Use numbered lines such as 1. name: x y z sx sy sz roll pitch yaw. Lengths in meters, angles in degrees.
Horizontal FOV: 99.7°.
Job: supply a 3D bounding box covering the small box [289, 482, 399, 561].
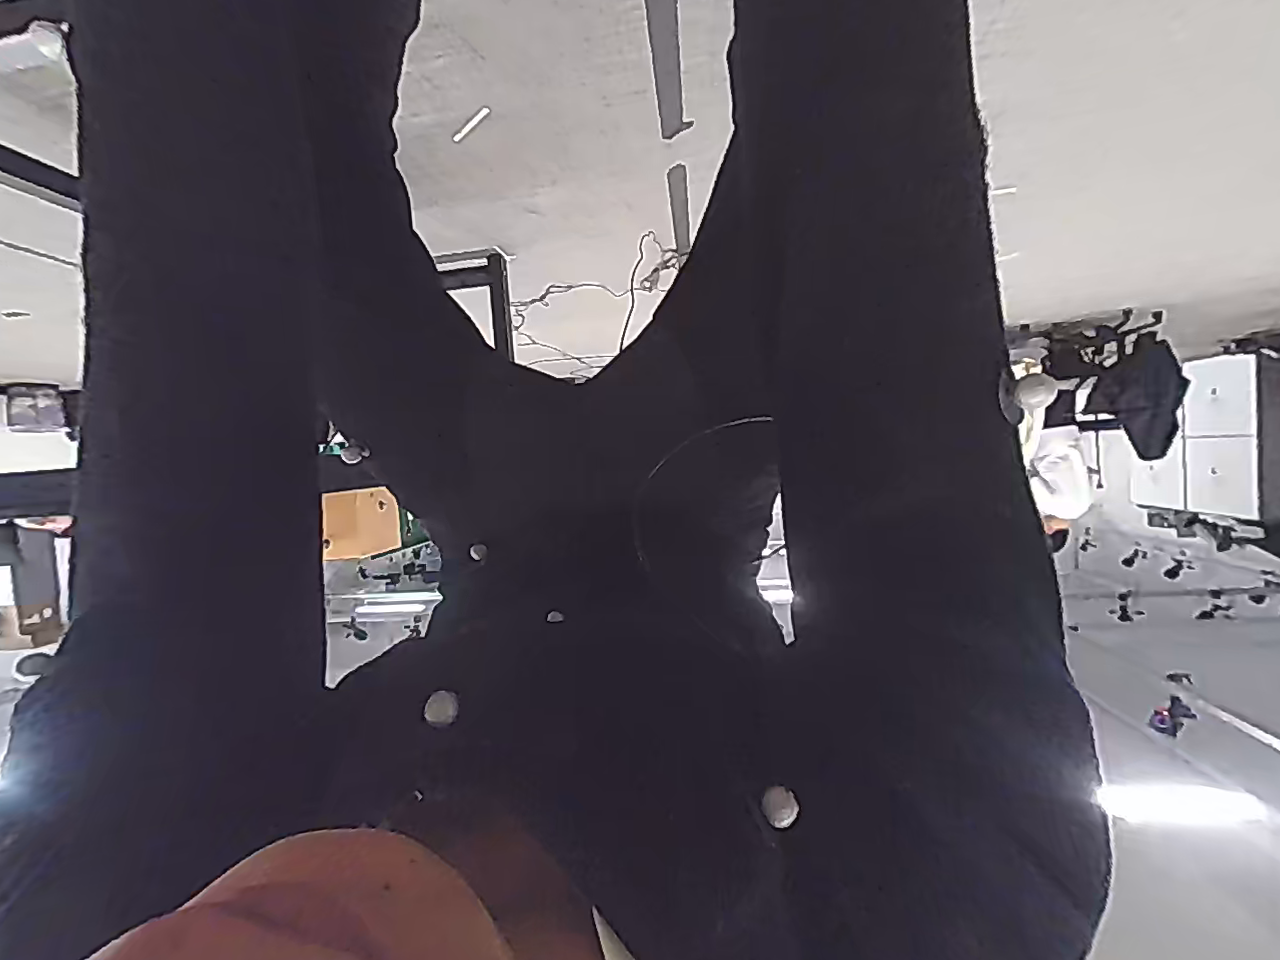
1. small box: -0.704 0.093 1.288 0.179 0.176 0.168 -4 -177 8
